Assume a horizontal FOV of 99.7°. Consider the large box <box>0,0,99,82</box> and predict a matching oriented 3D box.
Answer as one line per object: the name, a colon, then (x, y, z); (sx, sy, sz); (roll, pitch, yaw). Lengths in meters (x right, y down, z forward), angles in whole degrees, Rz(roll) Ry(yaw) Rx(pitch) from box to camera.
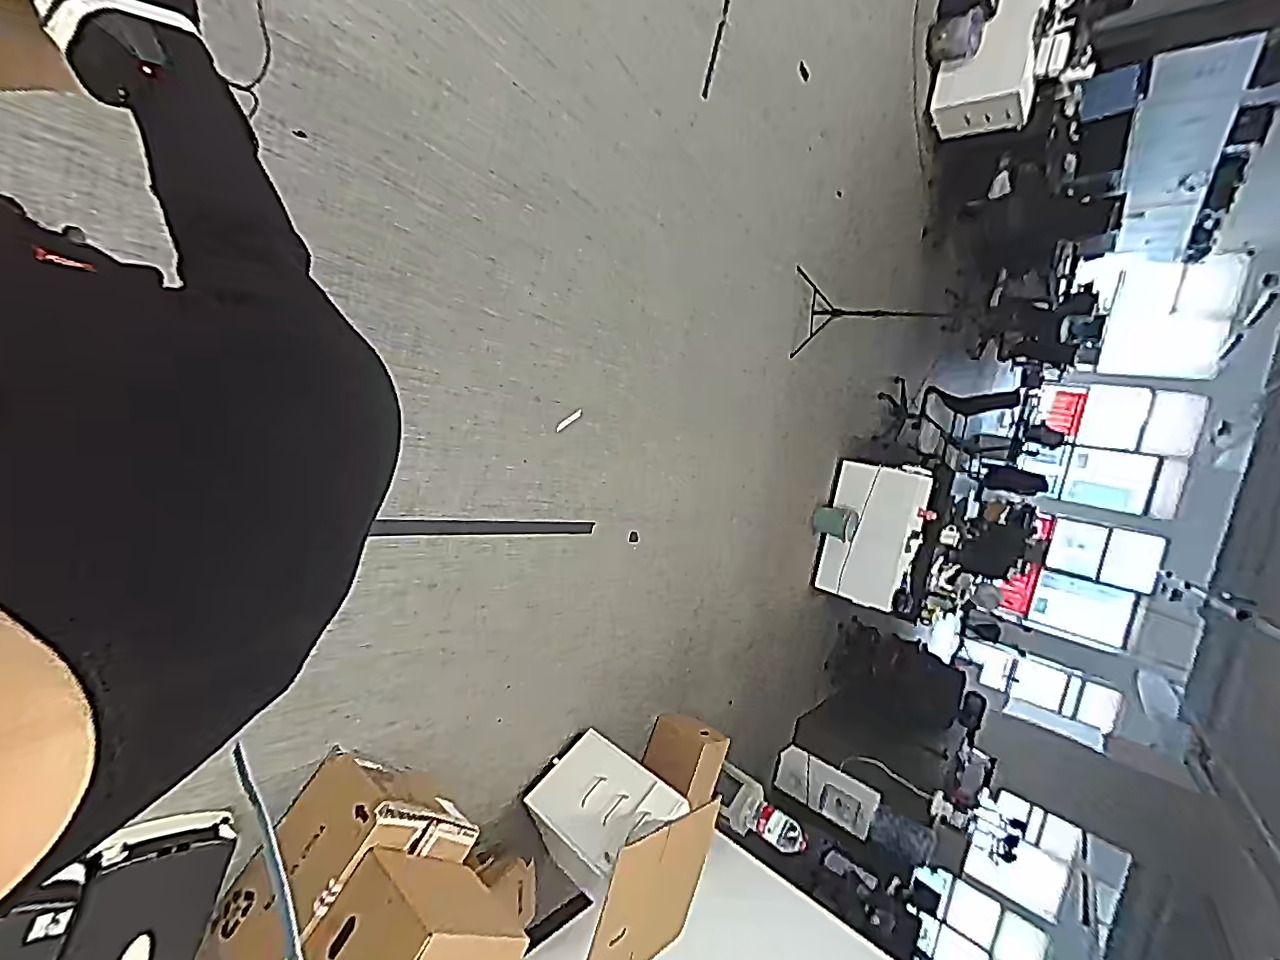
large box: (-0.629, -0.421, 0.278); (0.408, 0.320, 0.320); (-32, 129, -37)
